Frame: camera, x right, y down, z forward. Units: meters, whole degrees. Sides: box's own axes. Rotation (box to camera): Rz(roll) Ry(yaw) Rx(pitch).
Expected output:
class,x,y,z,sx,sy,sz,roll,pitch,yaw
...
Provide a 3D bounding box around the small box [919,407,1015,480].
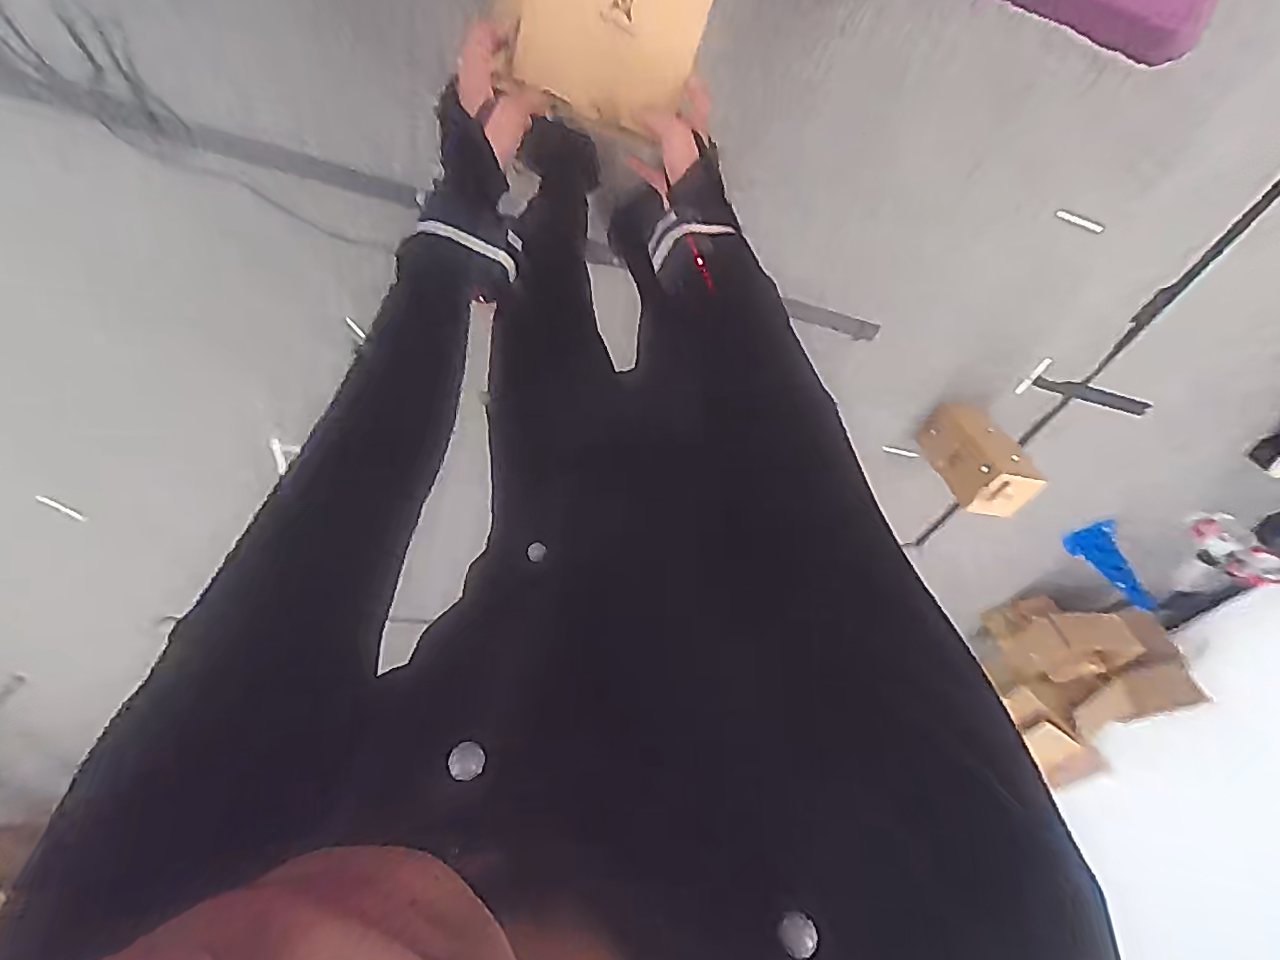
class,x,y,z,sx,sy,sz,roll,pitch,yaw
small box,1.067,-0.123,1.780,0.179,0.176,0.168,7,134,-12
